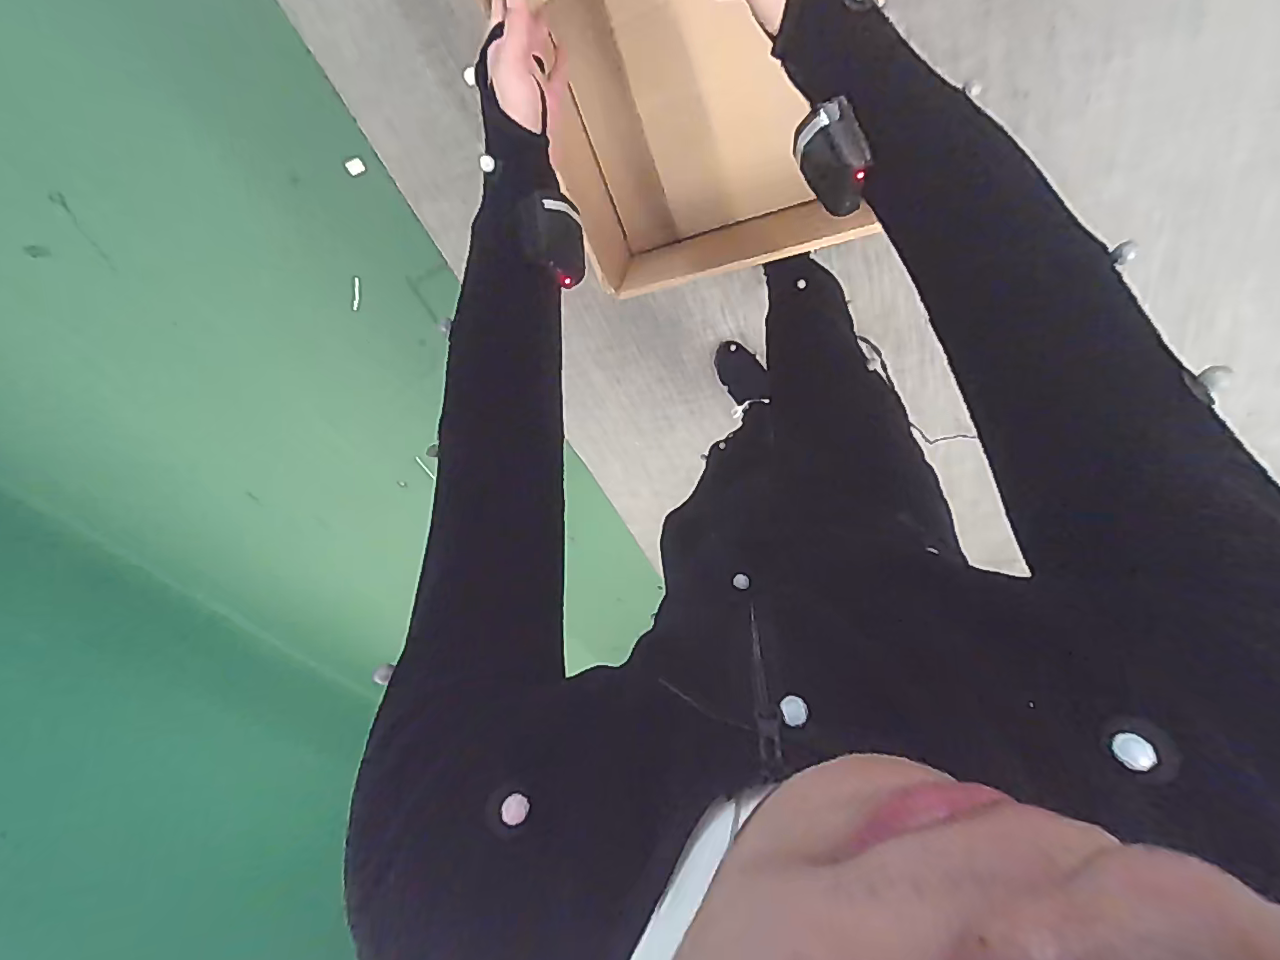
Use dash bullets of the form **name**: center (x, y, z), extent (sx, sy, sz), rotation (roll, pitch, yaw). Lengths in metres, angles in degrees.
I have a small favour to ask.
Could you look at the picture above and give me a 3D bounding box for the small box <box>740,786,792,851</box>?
- **small box**: center (0.468, 1.250, 2.003), extent (0.179, 0.176, 0.168), rotation (-2, 137, 17)
